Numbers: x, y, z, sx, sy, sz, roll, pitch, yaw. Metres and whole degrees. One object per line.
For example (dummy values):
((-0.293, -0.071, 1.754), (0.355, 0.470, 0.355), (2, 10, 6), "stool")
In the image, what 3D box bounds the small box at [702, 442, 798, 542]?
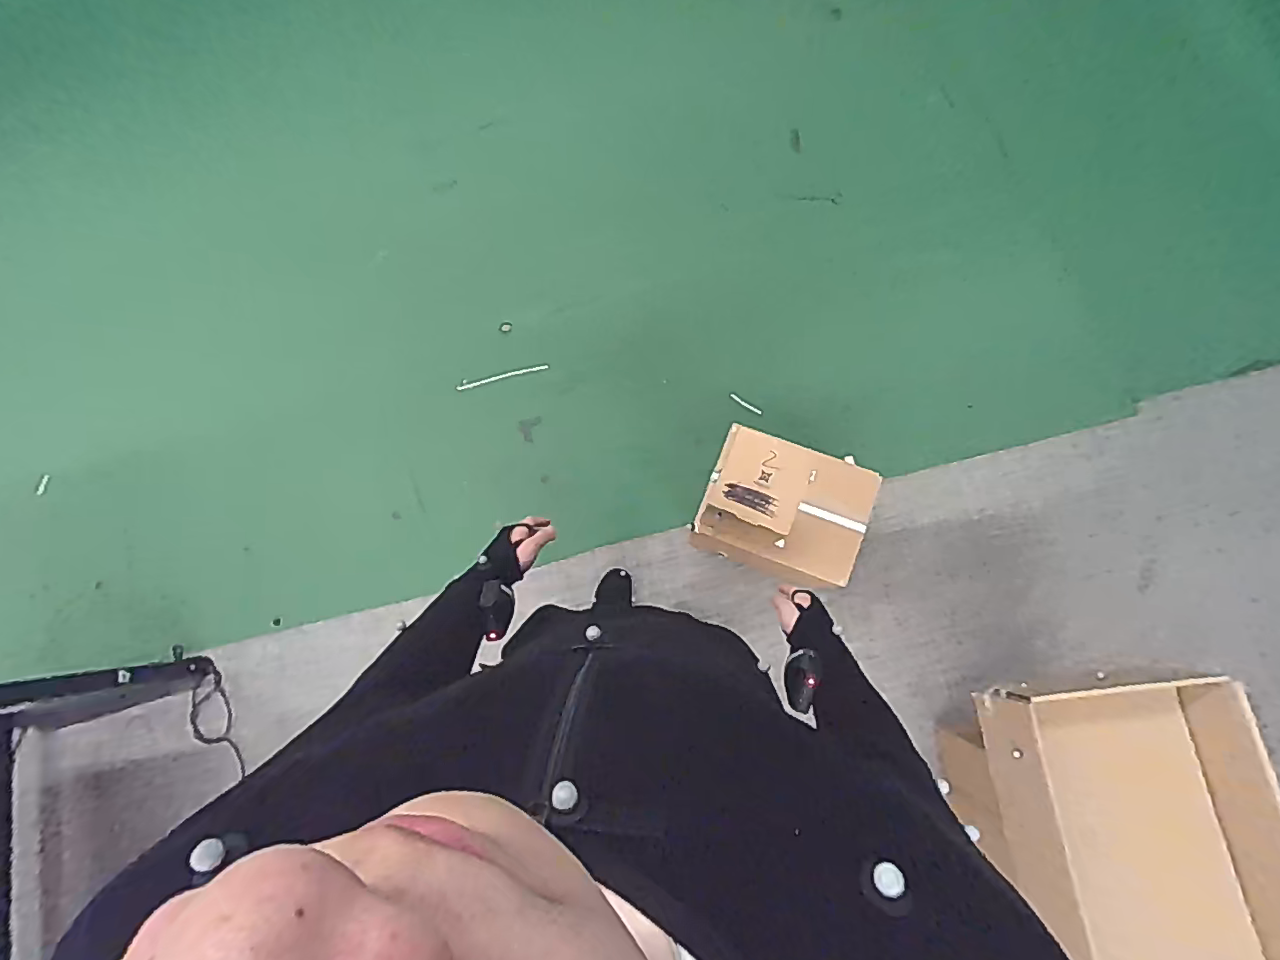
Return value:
((0.254, 0.037, 1.291), (0.168, 0.176, 0.179), (24, 80, 7), "small box")
